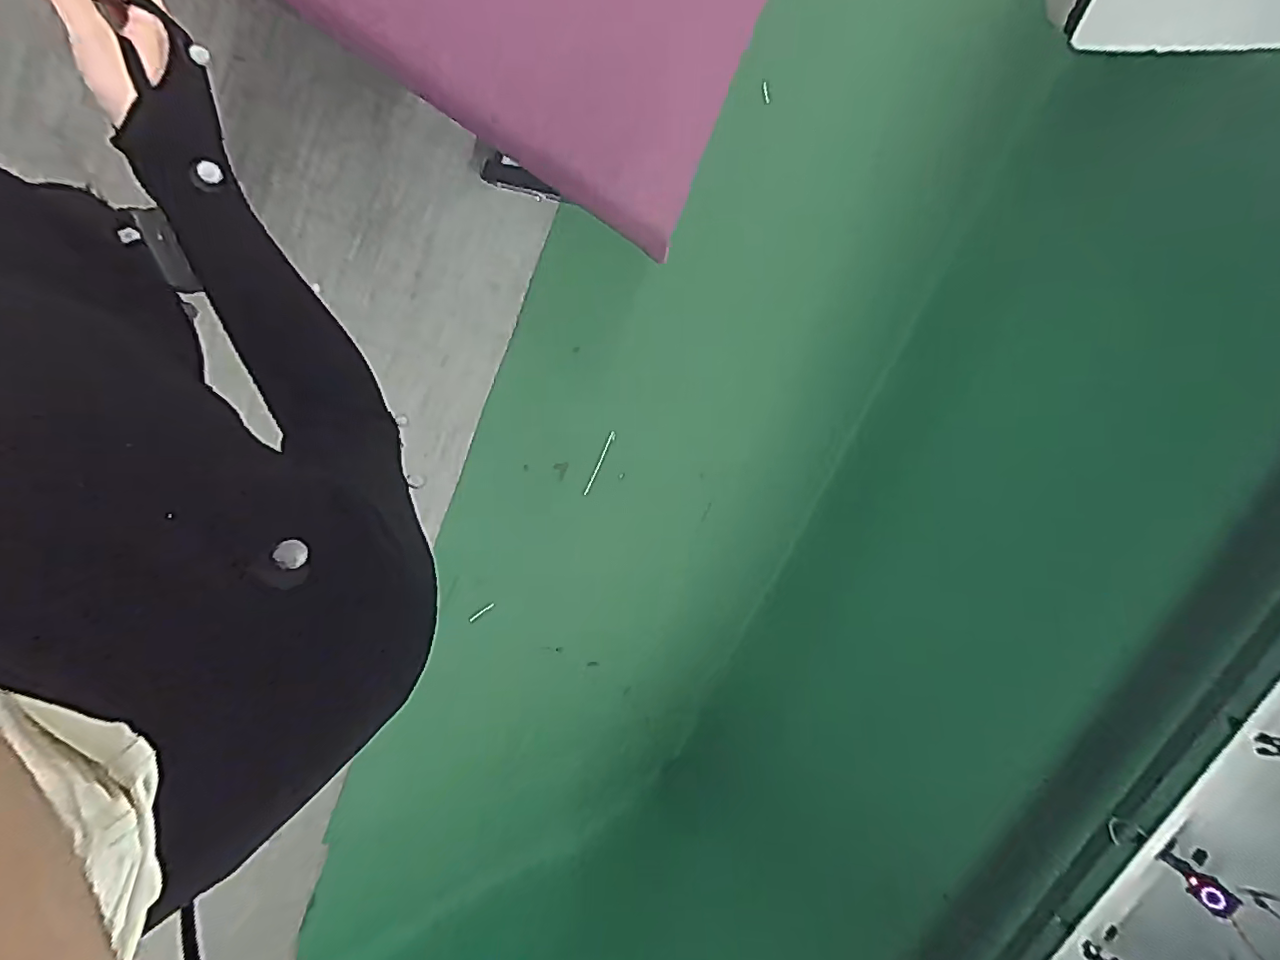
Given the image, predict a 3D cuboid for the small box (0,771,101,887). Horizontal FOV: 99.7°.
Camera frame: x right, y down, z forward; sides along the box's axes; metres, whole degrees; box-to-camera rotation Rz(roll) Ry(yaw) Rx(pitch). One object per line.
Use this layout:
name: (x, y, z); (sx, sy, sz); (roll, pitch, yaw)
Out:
small box: (-1.589, 0.927, 1.450); (0.179, 0.176, 0.168); (9, 110, -51)
